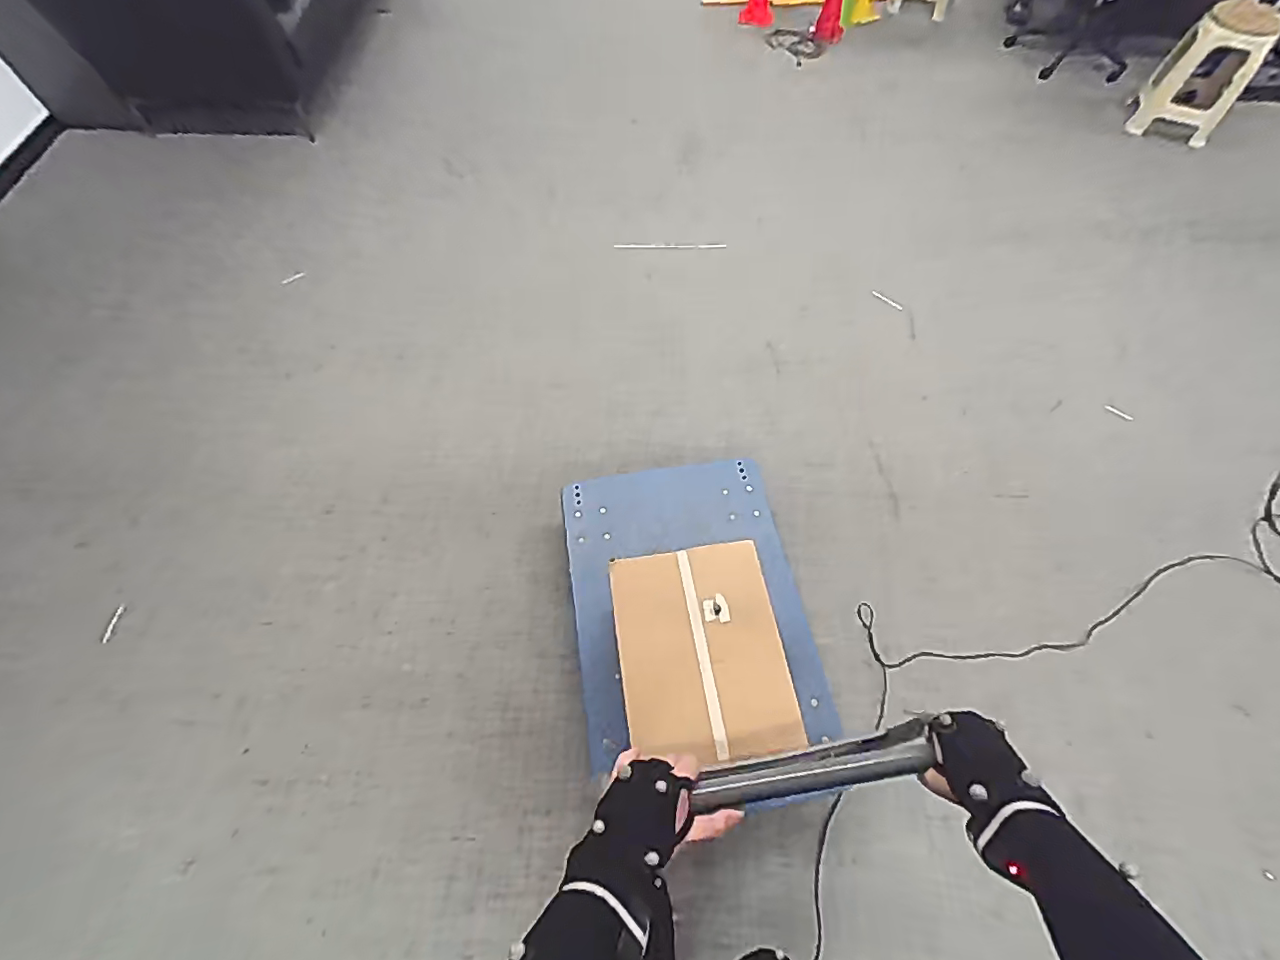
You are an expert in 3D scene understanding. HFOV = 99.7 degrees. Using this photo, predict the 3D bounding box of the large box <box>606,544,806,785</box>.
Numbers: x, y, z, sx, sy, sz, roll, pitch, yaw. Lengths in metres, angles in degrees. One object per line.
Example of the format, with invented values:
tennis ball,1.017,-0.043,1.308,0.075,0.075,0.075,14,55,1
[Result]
large box,0.115,0.403,1.170,0.320,0.320,0.408,-8,59,-5
